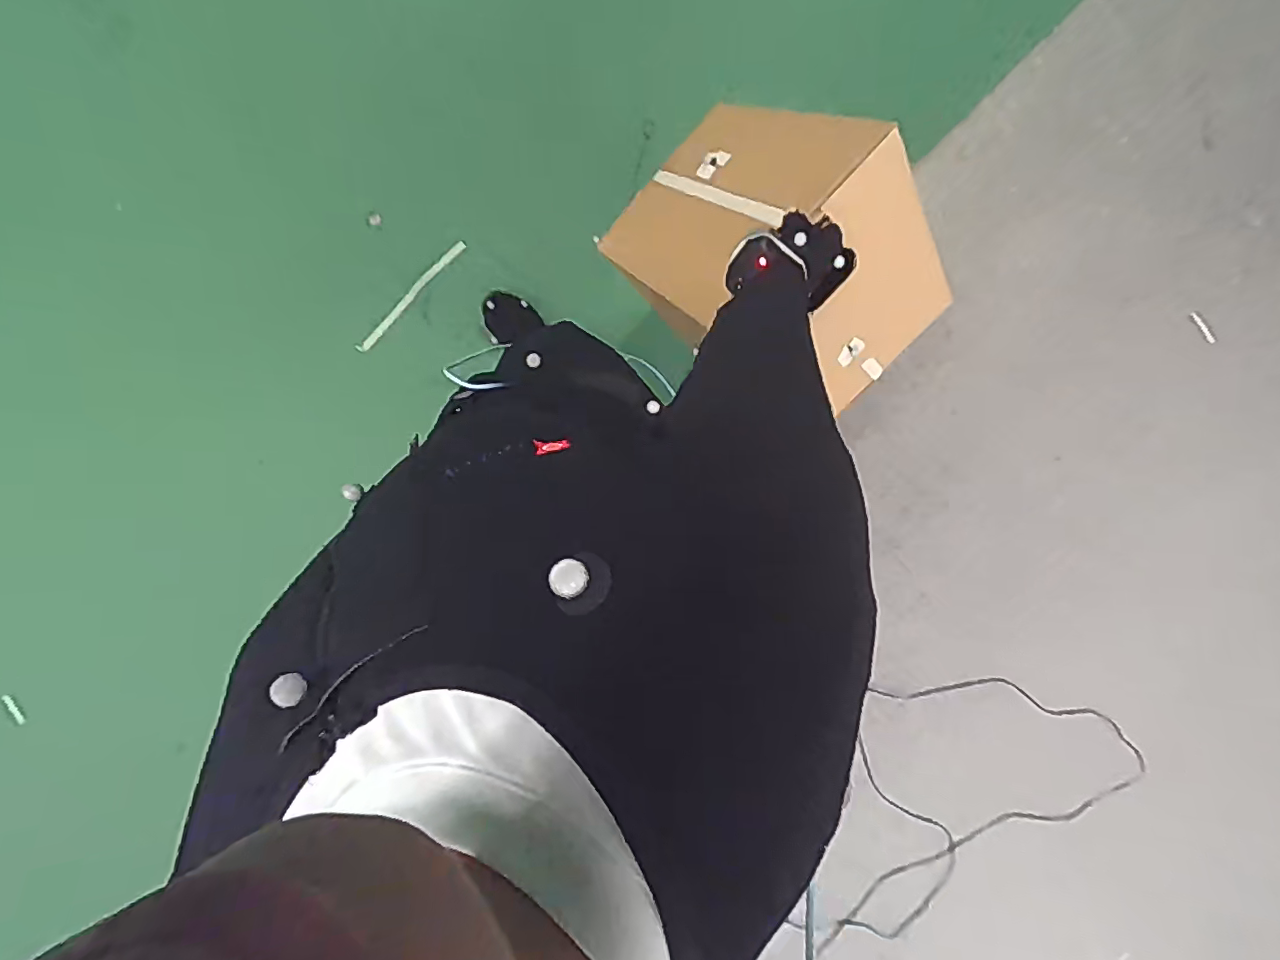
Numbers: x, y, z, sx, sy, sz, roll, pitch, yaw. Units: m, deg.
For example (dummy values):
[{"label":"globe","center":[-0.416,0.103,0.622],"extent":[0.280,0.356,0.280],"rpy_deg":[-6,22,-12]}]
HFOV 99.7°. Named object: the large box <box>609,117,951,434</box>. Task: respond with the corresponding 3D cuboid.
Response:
[{"label":"large box","center":[0.216,-0.346,0.909],"extent":[0.320,0.408,0.320],"rpy_deg":[-45,132,9]}]
